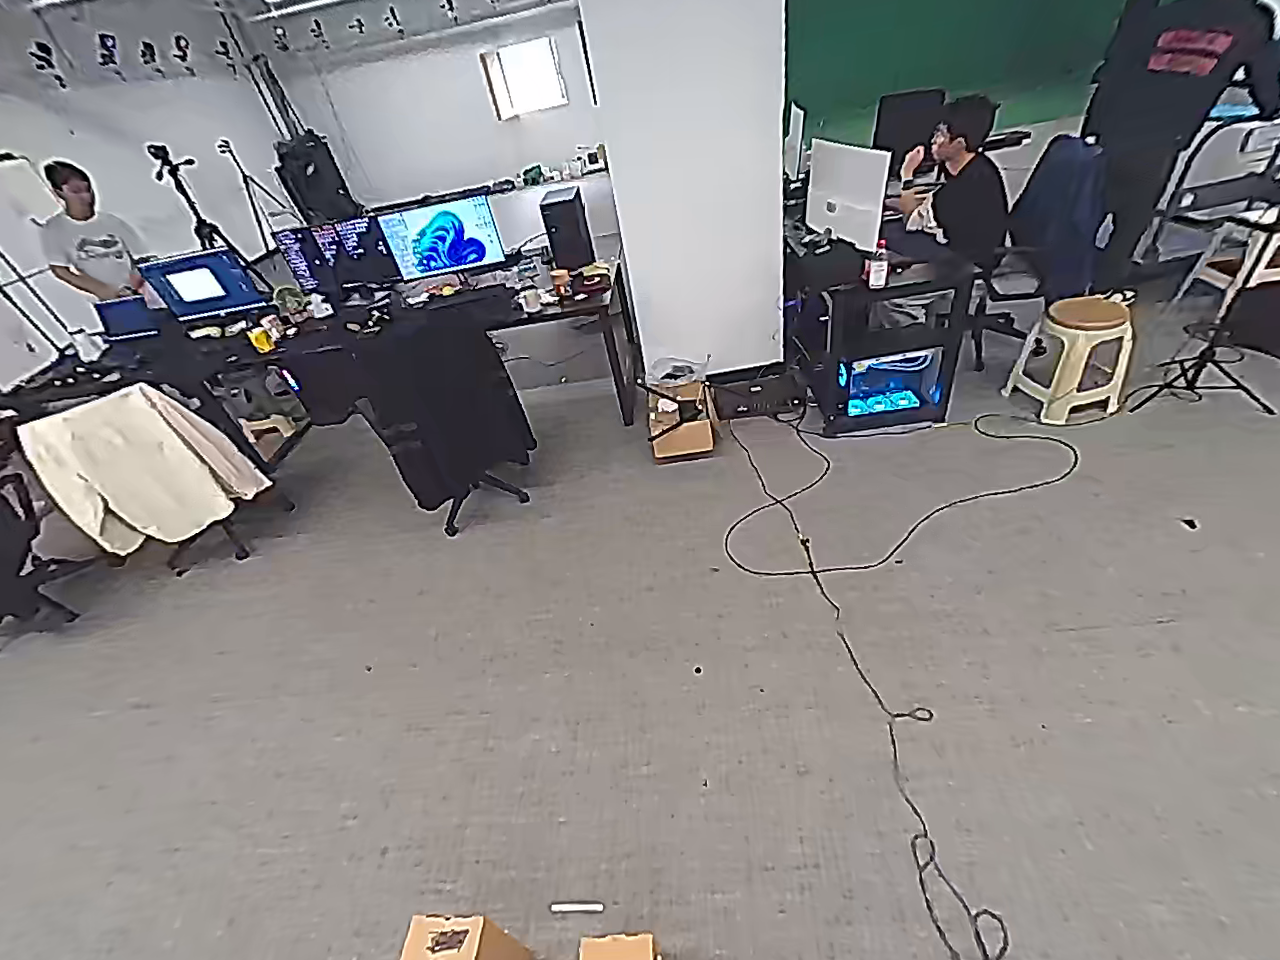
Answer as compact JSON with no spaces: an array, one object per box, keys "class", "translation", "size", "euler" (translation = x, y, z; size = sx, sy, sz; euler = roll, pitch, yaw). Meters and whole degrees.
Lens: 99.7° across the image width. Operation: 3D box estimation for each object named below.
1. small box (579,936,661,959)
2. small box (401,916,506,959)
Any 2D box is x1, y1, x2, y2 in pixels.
[{"class":"small box","translation":[-0.039,1.132,1.180],"size":[0.168,0.176,0.179],"euler":[-8,38,5]},{"class":"small box","translation":[-0.394,1.041,1.125],"size":[0.168,0.176,0.179],"euler":[-6,39,9]}]
